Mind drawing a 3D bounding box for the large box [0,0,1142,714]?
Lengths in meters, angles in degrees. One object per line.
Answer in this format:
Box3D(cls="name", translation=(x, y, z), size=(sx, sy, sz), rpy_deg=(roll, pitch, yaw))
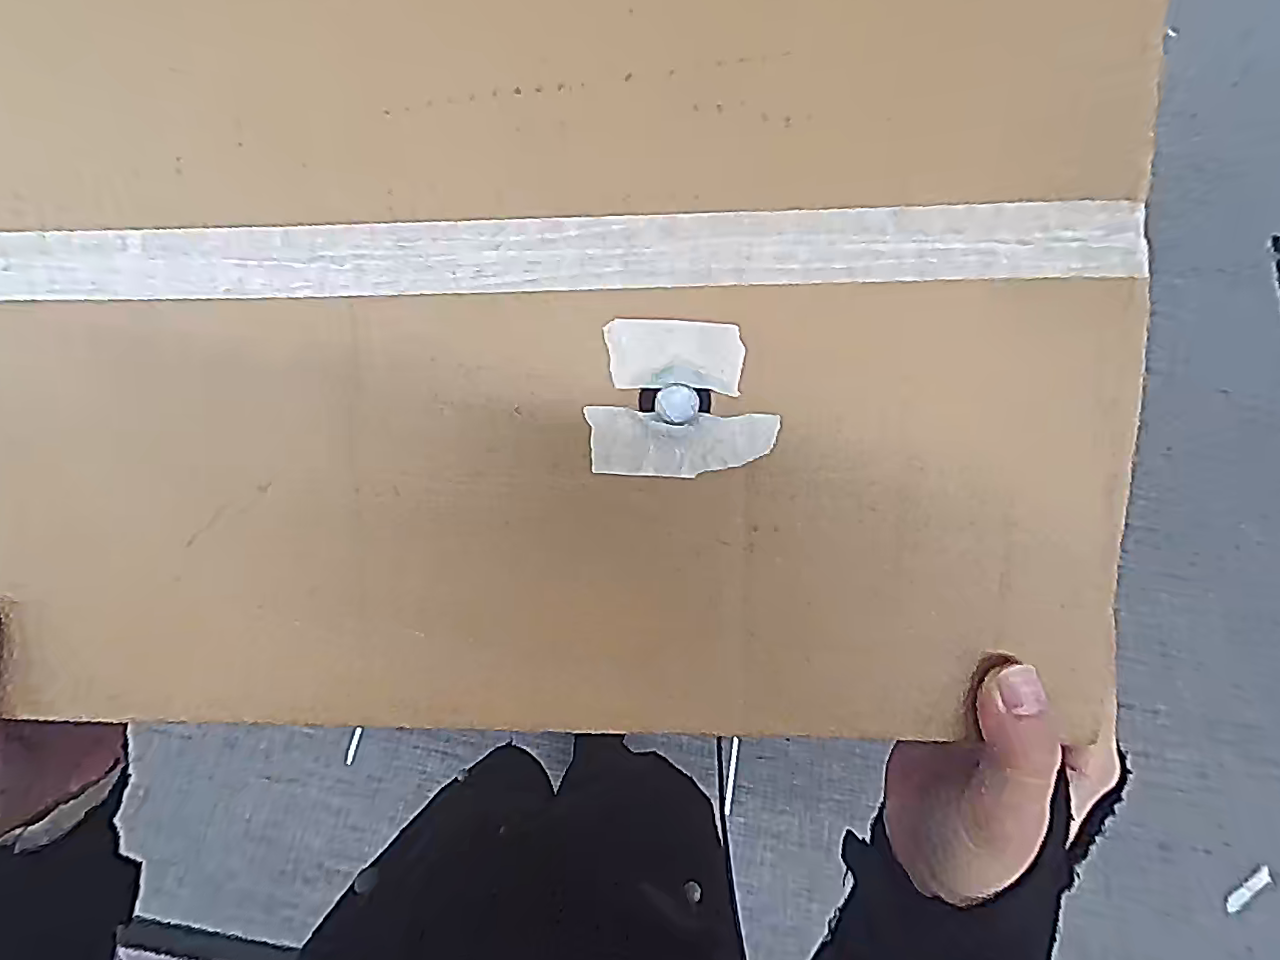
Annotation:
Box3D(cls="large box", translation=(-0.042, -0.082, 0.330), size=(0.408, 0.320, 0.320), rpy_deg=(0, 97, 2))
